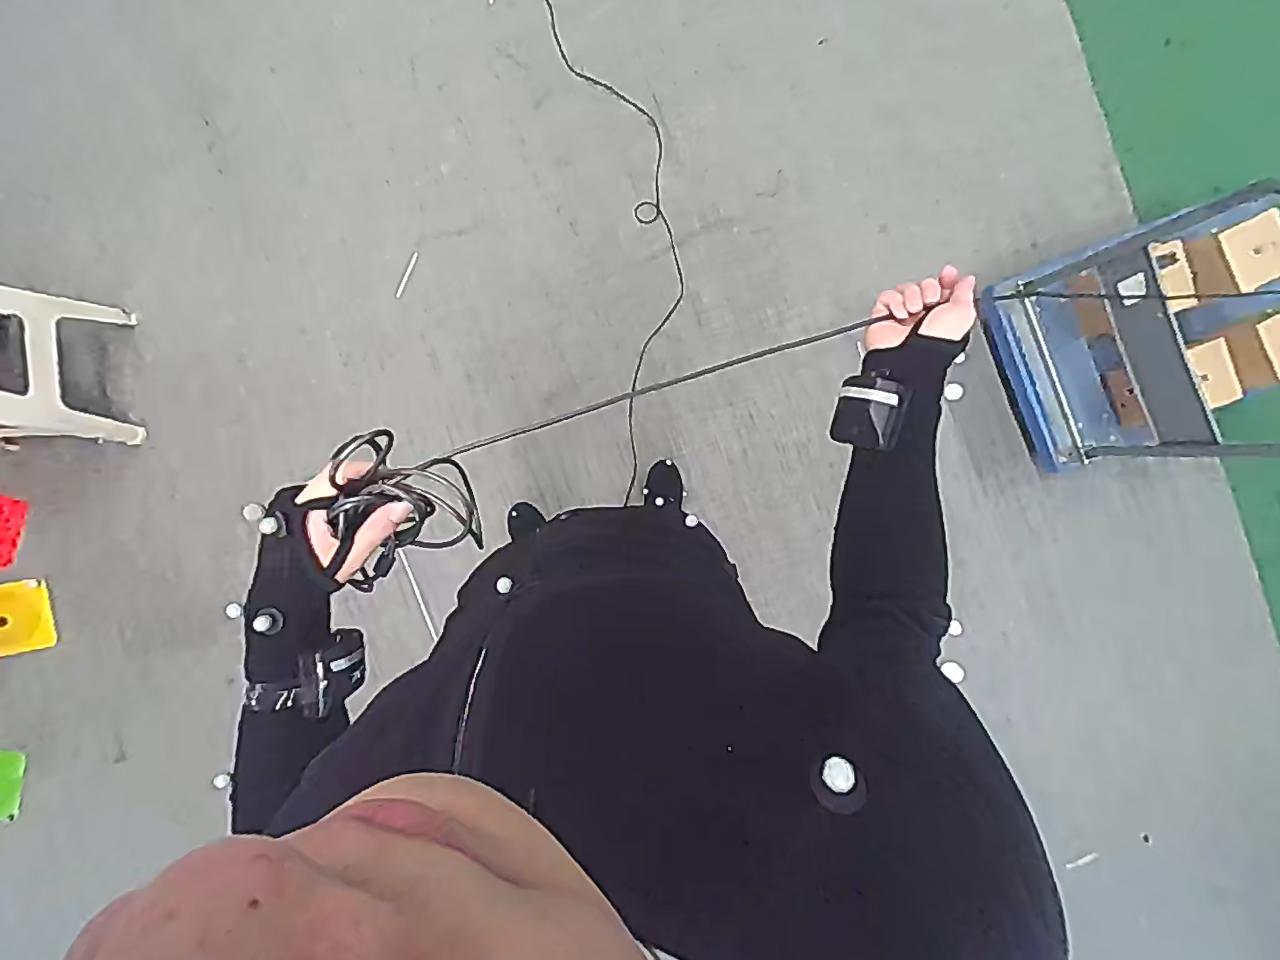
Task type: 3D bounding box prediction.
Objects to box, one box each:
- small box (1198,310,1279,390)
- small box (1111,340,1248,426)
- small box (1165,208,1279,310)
[{"bbox_3d":[1.674,-0.351,1.446,0.179,0.176,0.168,-25,91,-1],"label":"small box"},{"bbox_3d":[1.423,-0.252,1.437,0.179,0.176,0.168,-21,91,-1],"label":"small box"},{"bbox_3d":[1.564,-0.578,1.439,0.179,0.176,0.168,-25,92,-2],"label":"small box"}]
